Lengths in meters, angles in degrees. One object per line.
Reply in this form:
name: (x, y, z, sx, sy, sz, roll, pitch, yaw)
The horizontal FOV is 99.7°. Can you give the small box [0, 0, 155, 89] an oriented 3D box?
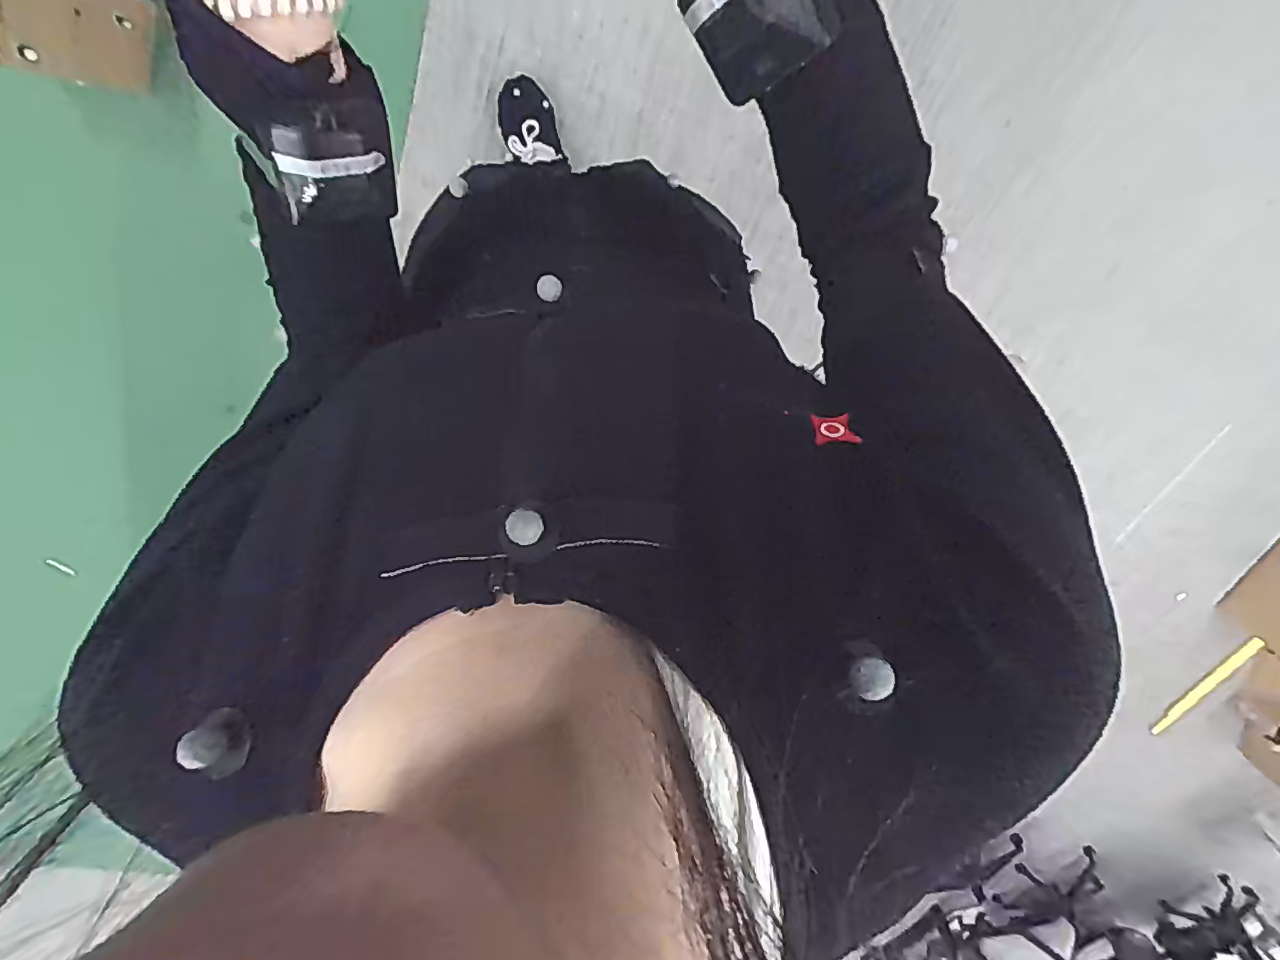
small box: (-1.014, -0.829, 0.958, 0.179, 0.176, 0.168, 22, 115, -18)
